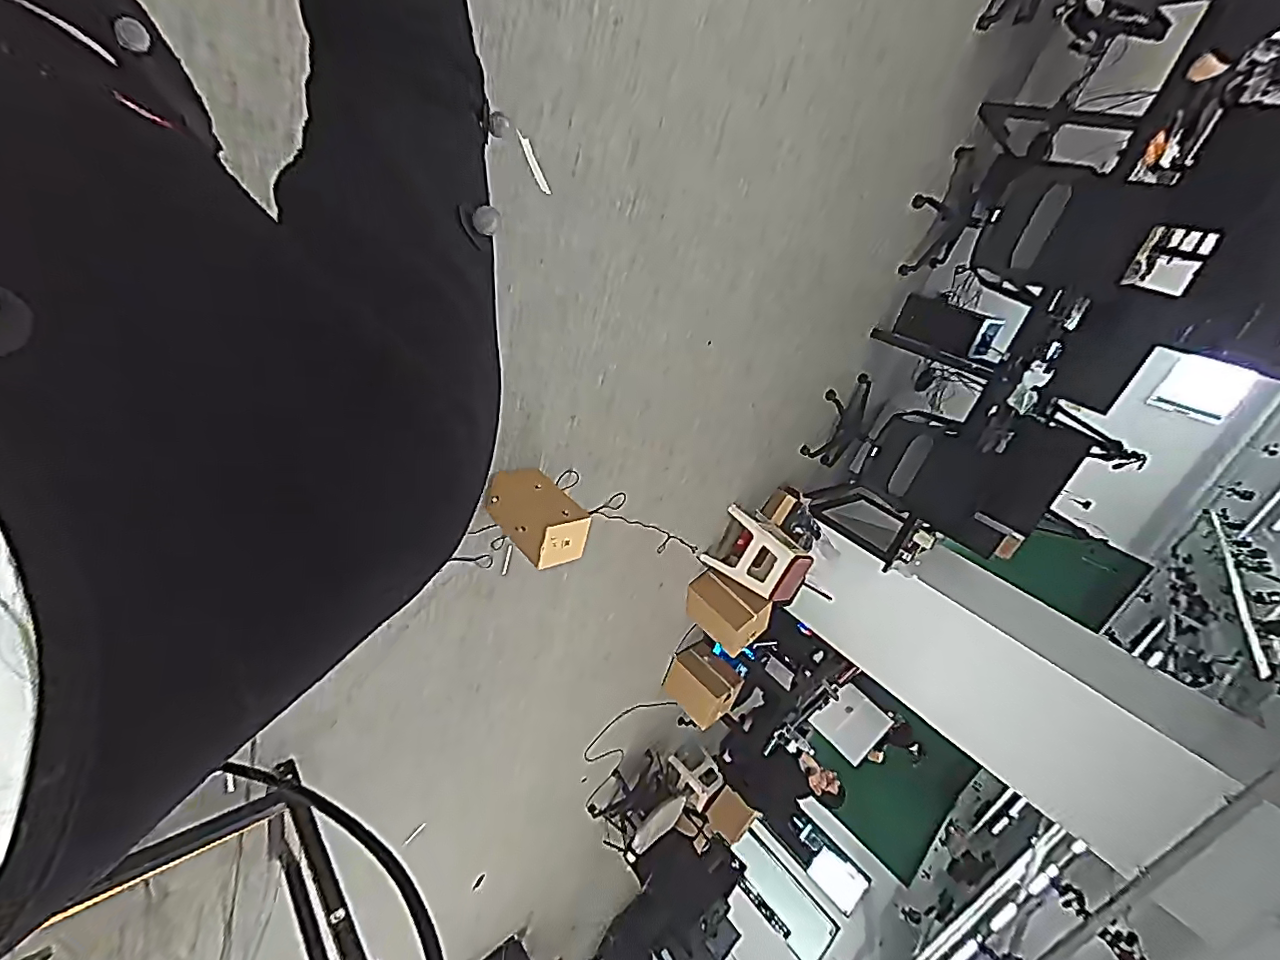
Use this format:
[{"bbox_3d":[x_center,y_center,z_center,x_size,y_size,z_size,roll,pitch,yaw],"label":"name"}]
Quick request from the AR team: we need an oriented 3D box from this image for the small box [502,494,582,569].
[{"bbox_3d":[-0.319,0.159,1.747,0.179,0.176,0.168,-10,126,-44],"label":"small box"}]

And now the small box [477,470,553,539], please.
[{"bbox_3d":[-0.427,0.077,1.841,0.179,0.176,0.168,-8,125,-45],"label":"small box"}]
